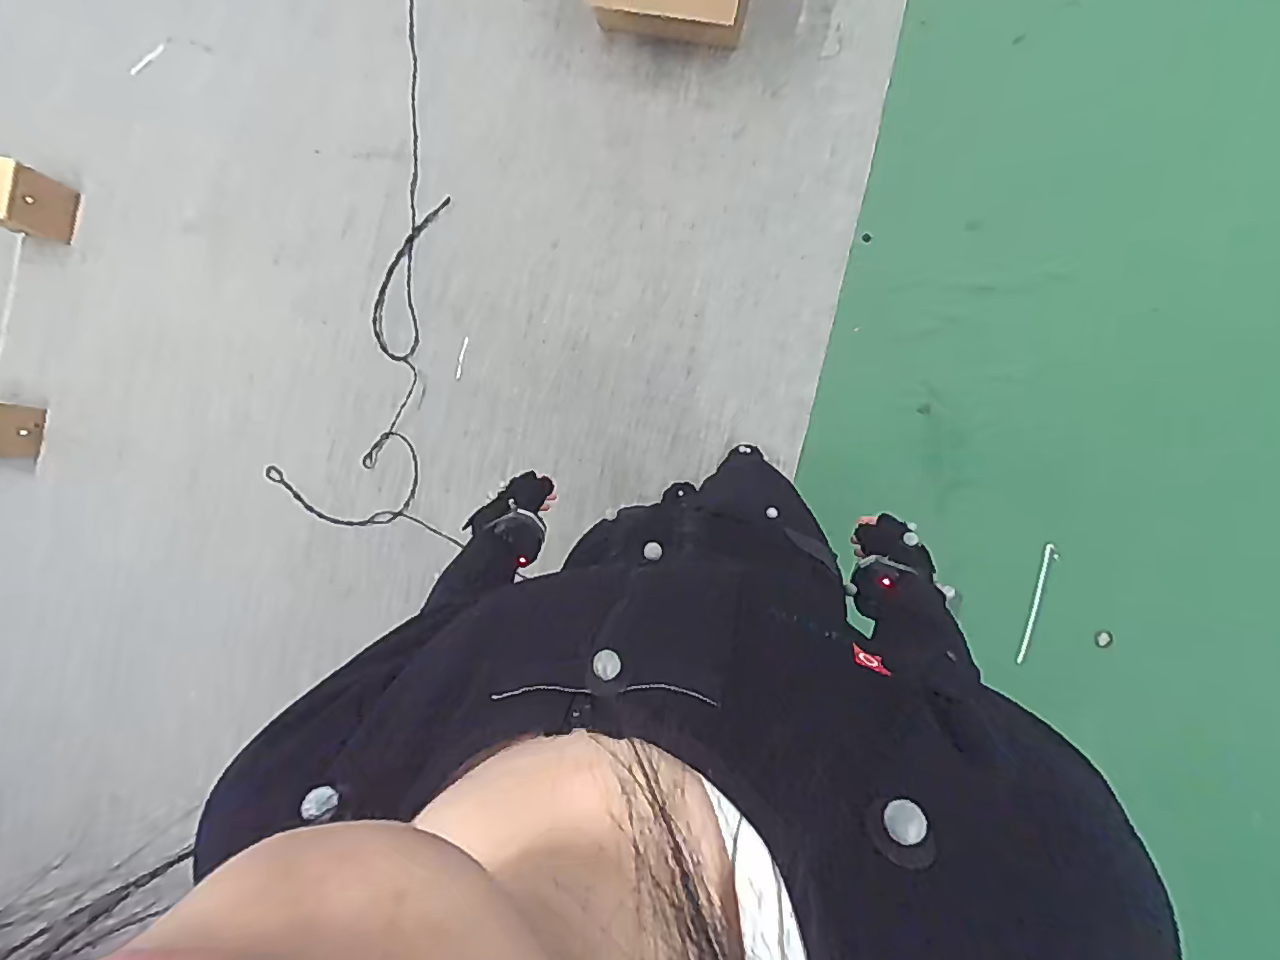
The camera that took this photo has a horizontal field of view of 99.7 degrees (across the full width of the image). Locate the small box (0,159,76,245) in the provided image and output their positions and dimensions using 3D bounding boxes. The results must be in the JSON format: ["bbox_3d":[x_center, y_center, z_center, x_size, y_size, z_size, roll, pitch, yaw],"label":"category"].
[{"bbox_3d":[-1.855,-0.832,1.613,0.168,0.176,0.179,11,92,5],"label":"small box"}]

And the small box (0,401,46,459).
[{"bbox_3d":[-1.973,-0.157,1.628,0.179,0.176,0.168,11,92,6],"label":"small box"}]
